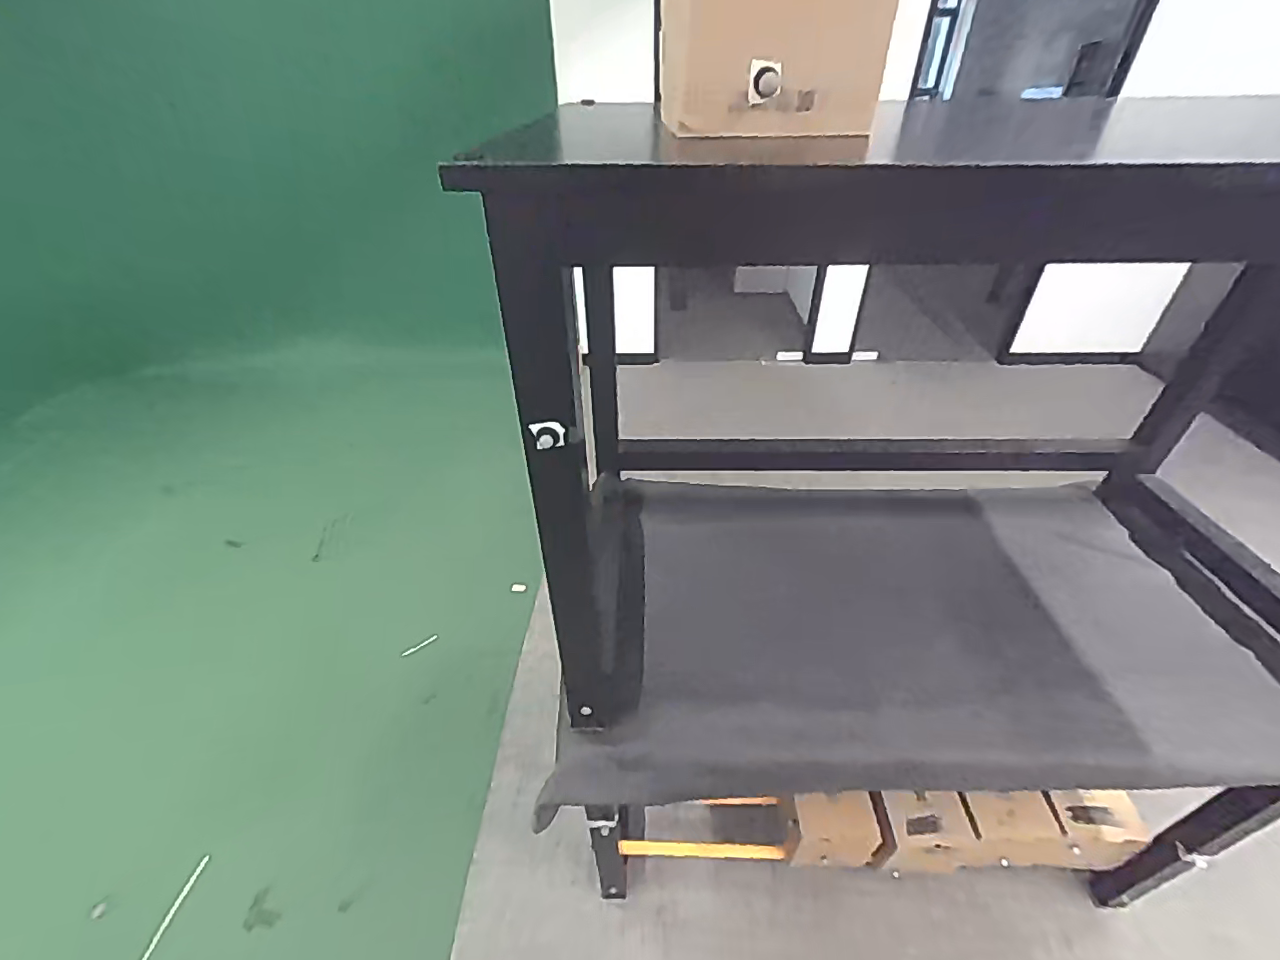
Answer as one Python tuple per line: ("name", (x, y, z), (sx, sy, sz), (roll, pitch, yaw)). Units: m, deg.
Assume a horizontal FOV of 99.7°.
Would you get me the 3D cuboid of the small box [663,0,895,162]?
("small box", (0.108, -0.393, 0.483), (0.168, 0.176, 0.179), (-3, 38, -1))
